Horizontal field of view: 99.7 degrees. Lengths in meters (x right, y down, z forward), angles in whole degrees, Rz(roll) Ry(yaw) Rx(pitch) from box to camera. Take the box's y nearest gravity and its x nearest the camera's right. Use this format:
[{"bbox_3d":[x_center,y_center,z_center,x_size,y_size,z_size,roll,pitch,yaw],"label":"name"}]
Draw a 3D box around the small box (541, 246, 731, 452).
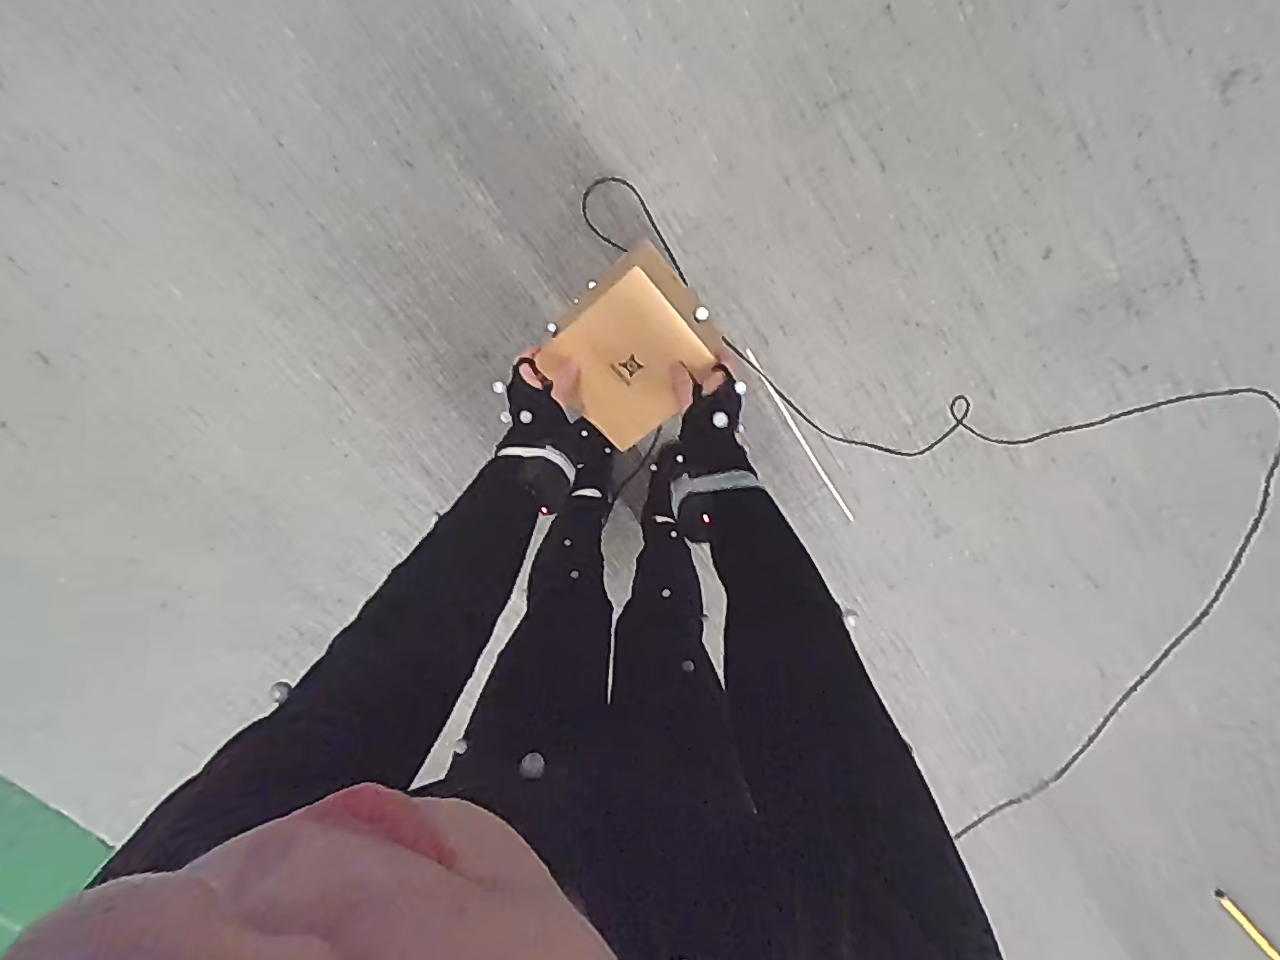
[{"bbox_3d":[0.001,-0.177,0.717,0.179,0.176,0.168,-34,114,27],"label":"small box"}]
